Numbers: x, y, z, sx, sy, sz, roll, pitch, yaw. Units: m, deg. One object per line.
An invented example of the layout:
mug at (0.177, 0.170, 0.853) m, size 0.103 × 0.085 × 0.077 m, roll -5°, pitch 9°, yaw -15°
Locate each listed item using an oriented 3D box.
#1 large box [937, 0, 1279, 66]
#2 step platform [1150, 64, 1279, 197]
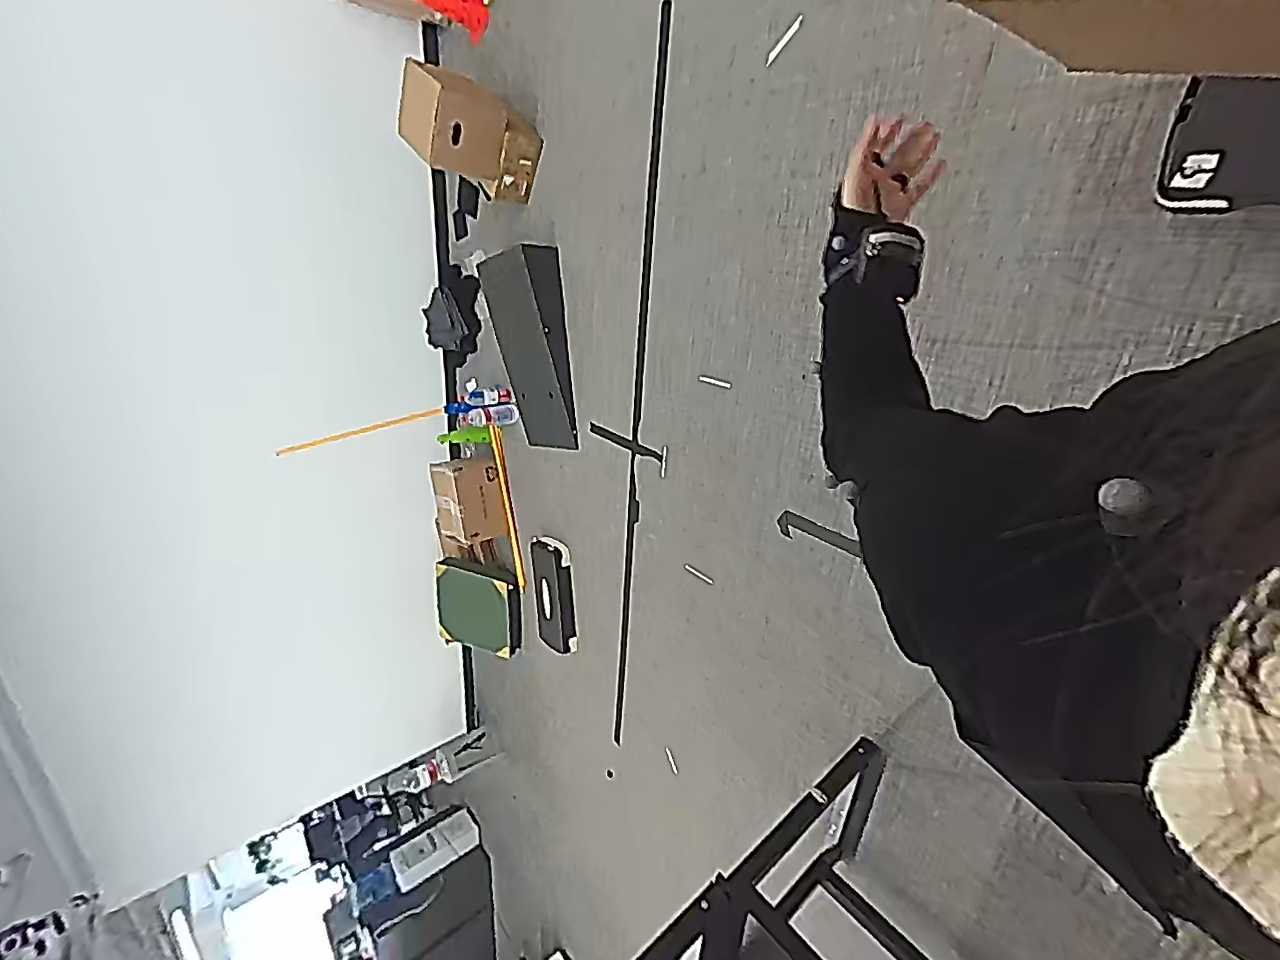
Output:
large box at (0.399, -0.330, 0.163) m, size 0.408 × 0.320 × 0.320 m, roll 31°, pitch 132°, yaw 34°
step platform at (1.152, -0.521, 0.718) m, size 0.684 × 0.204 × 0.286 m, roll 35°, pitch 126°, yaw 41°
